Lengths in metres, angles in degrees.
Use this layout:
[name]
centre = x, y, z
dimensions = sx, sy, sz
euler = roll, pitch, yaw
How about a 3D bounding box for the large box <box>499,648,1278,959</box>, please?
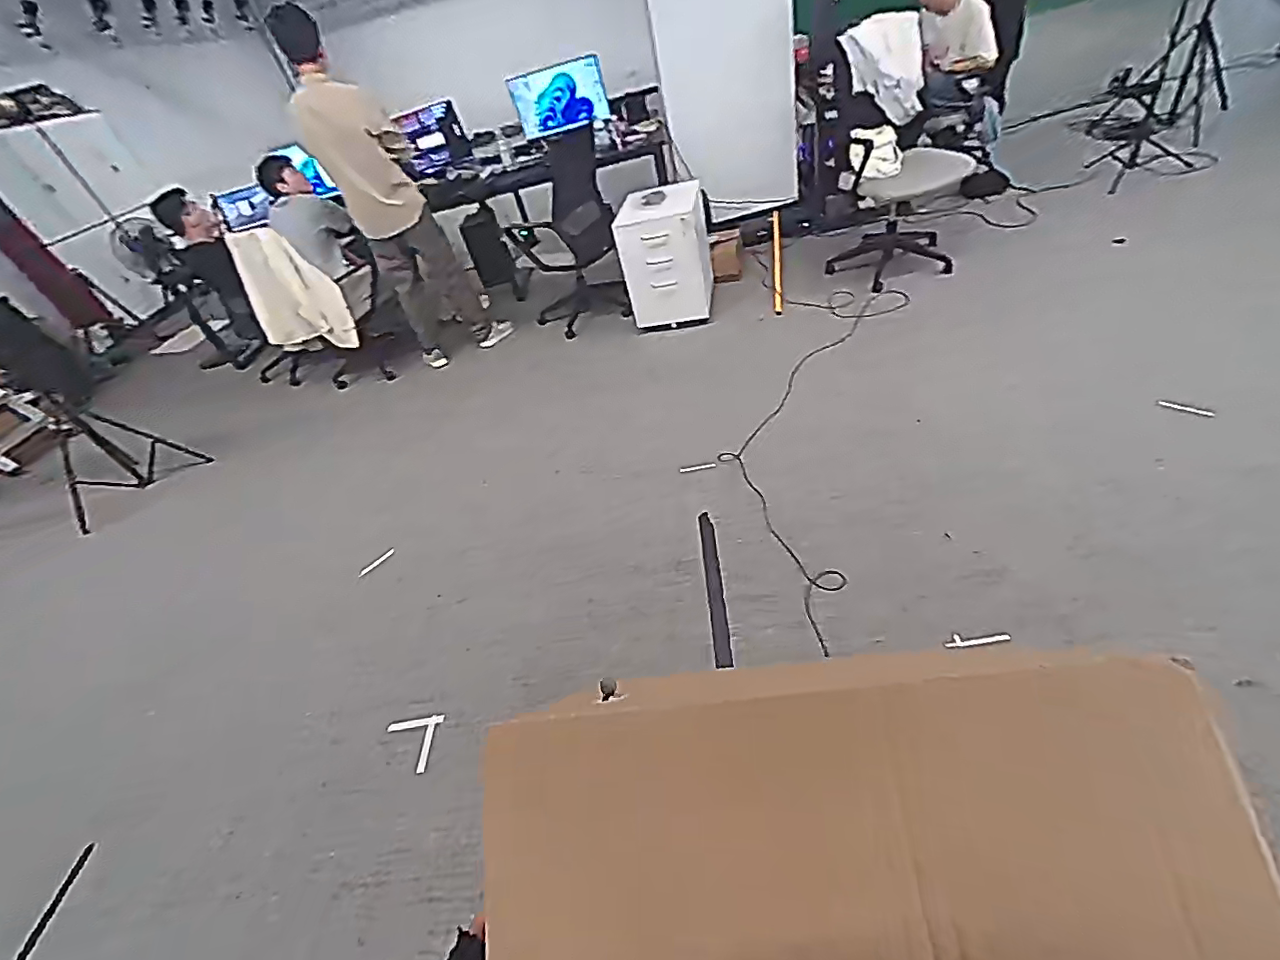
[large box]
centre = 0.142, 0.316, 0.427
dimensions = 0.408, 0.320, 0.320
euler = -9, 73, 8
